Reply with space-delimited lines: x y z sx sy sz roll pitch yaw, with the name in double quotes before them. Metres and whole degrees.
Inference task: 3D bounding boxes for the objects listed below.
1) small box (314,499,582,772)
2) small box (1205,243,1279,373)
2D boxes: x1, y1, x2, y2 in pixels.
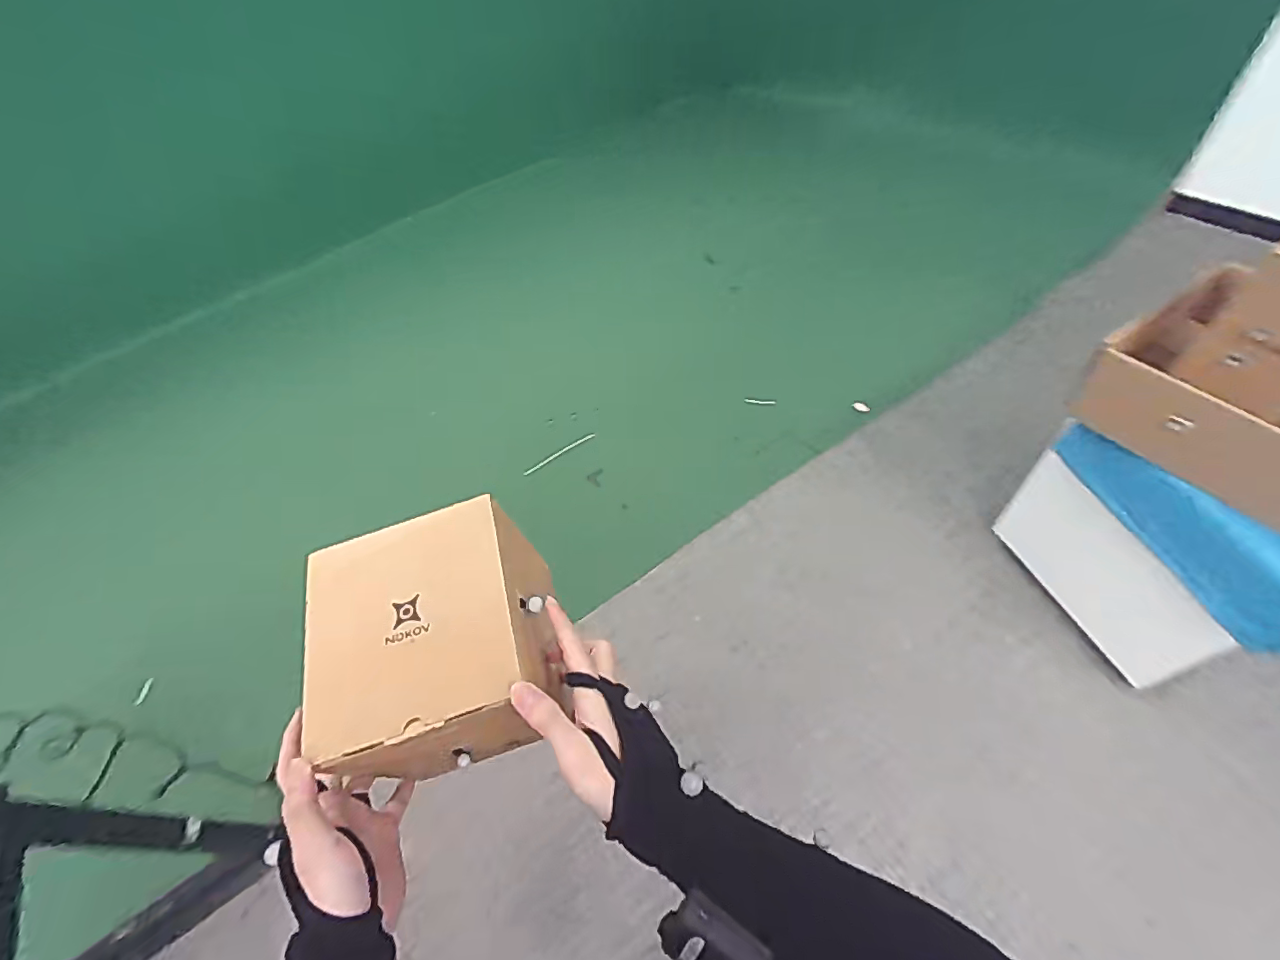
"small box" -0.162 0.148 0.495 0.168 0.176 0.179 -18 59 -1
"small box" 1.109 -0.299 0.886 0.179 0.176 0.168 -31 54 -13
